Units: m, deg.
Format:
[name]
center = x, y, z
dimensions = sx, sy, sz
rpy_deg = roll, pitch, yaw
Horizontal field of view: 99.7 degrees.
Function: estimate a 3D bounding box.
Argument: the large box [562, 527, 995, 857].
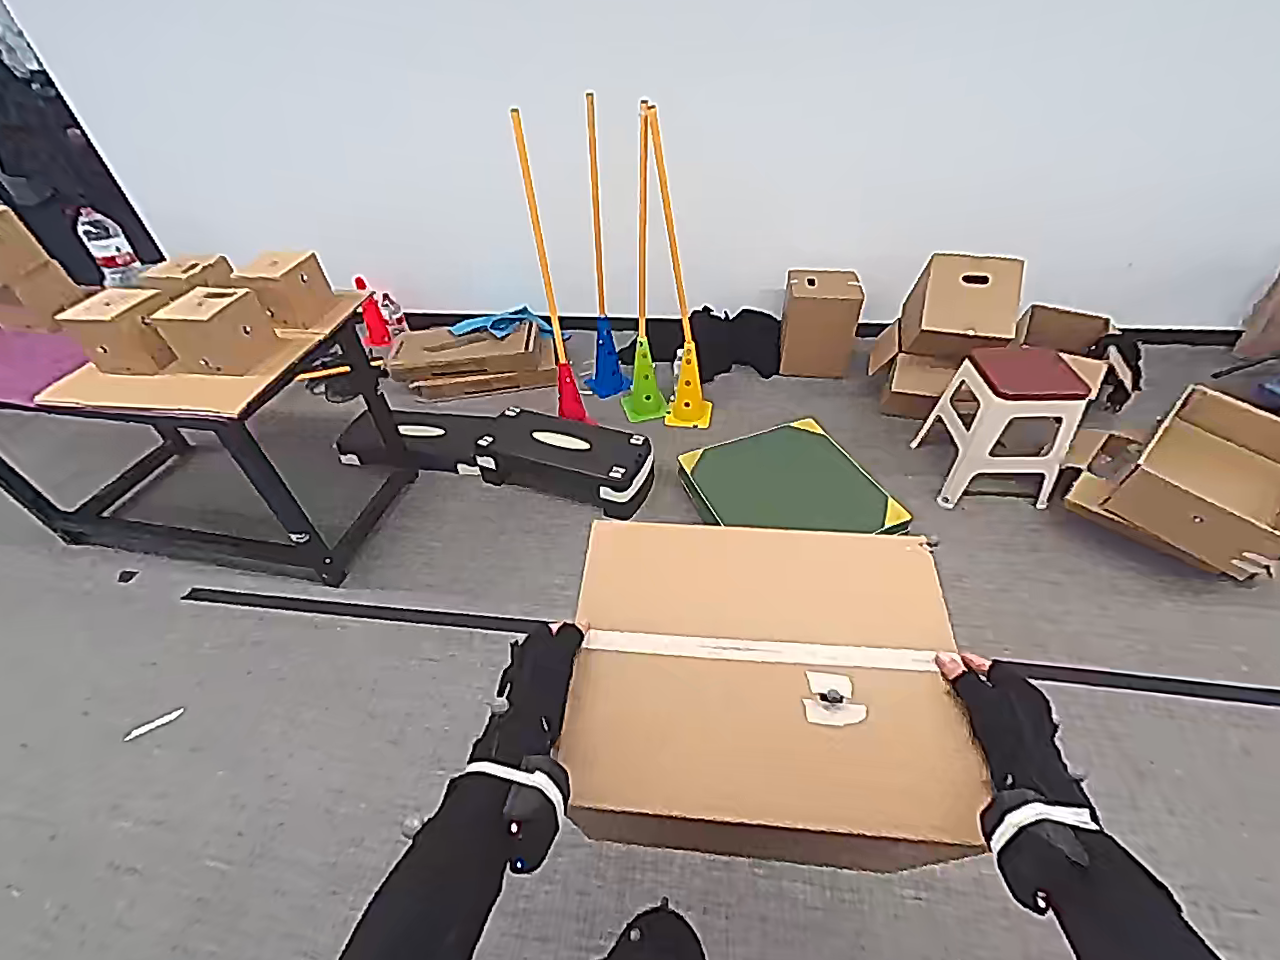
[large box]
center = 0.137, 0.278, 0.703
dimensions = 0.408, 0.320, 0.320
rpy_deg = 2, 52, 5
